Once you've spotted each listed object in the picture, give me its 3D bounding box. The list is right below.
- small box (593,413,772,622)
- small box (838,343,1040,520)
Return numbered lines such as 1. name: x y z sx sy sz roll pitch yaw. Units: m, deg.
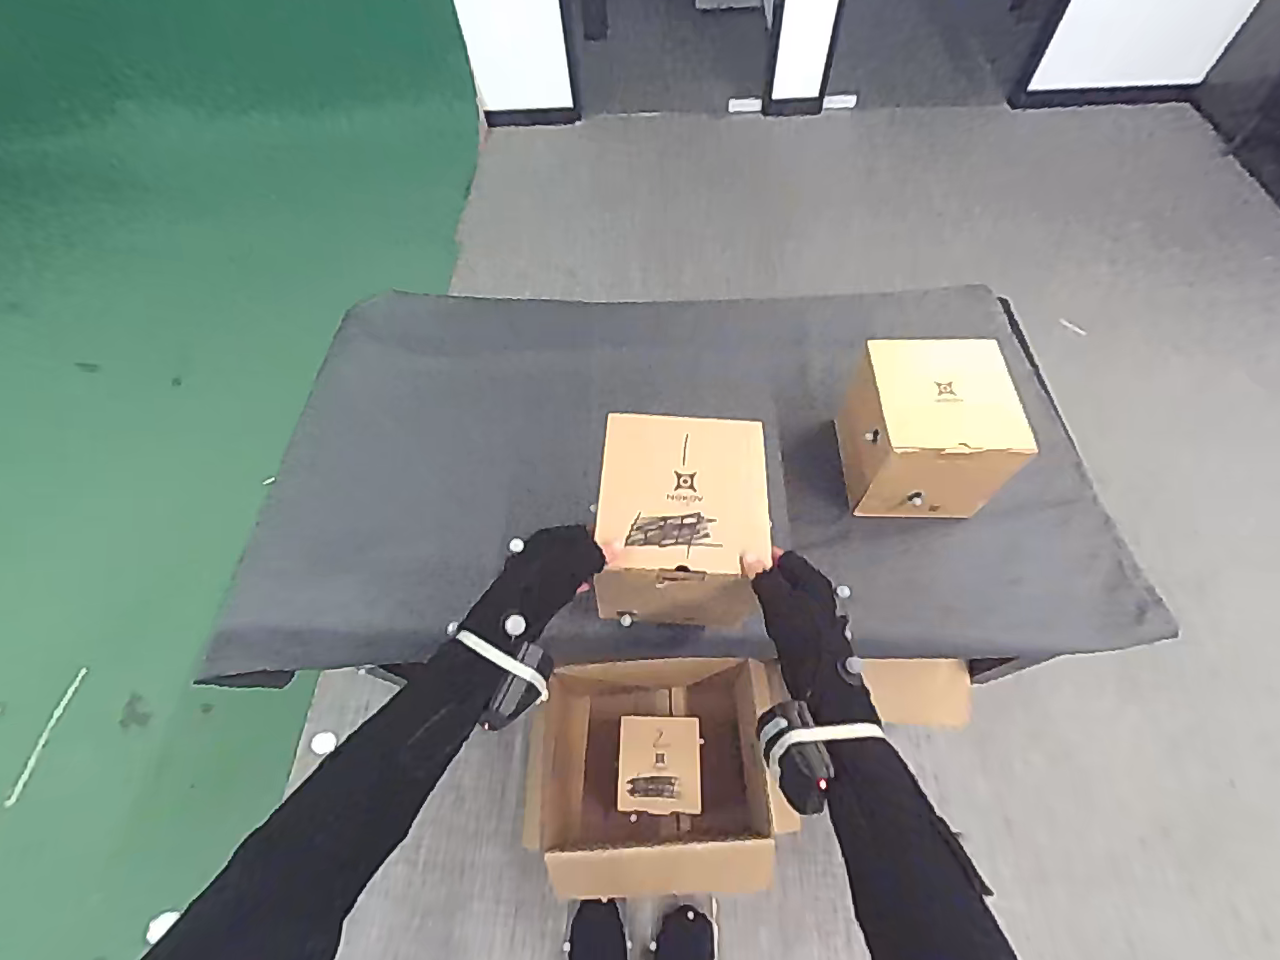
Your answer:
1. small box: 0.043 0.049 0.598 0.168 0.176 0.179 4 59 1
2. small box: 0.379 -0.062 0.728 0.168 0.176 0.179 0 59 4
